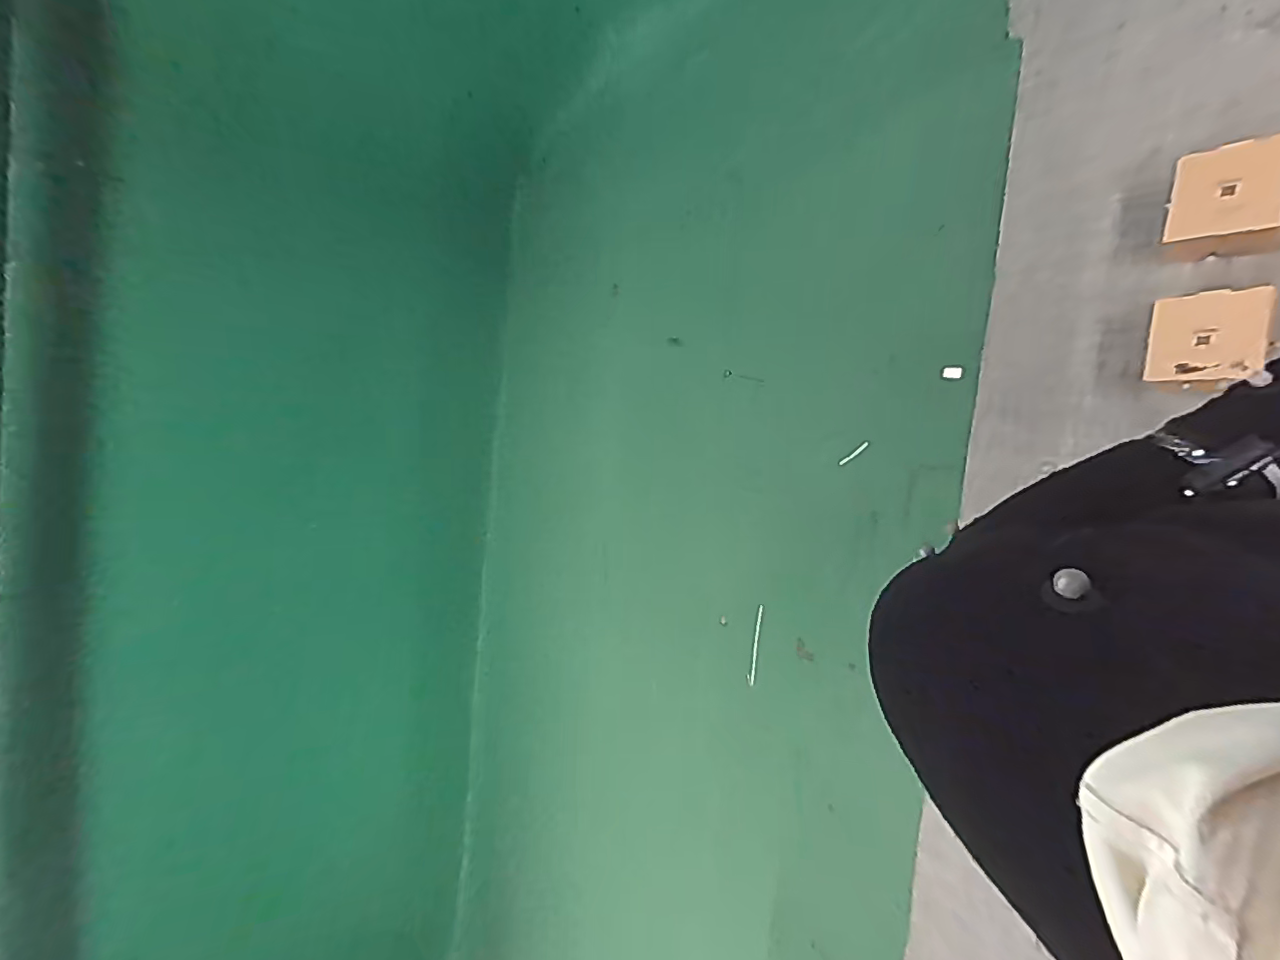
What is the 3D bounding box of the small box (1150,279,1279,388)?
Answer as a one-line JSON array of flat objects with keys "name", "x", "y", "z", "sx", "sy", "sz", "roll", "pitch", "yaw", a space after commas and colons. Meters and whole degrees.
[{"name": "small box", "x": 1.191, "y": -0.292, "z": 1.115, "sx": 0.168, "sy": 0.176, "sz": 0.179, "roll": 11, "pitch": 96, "yaw": 51}]
